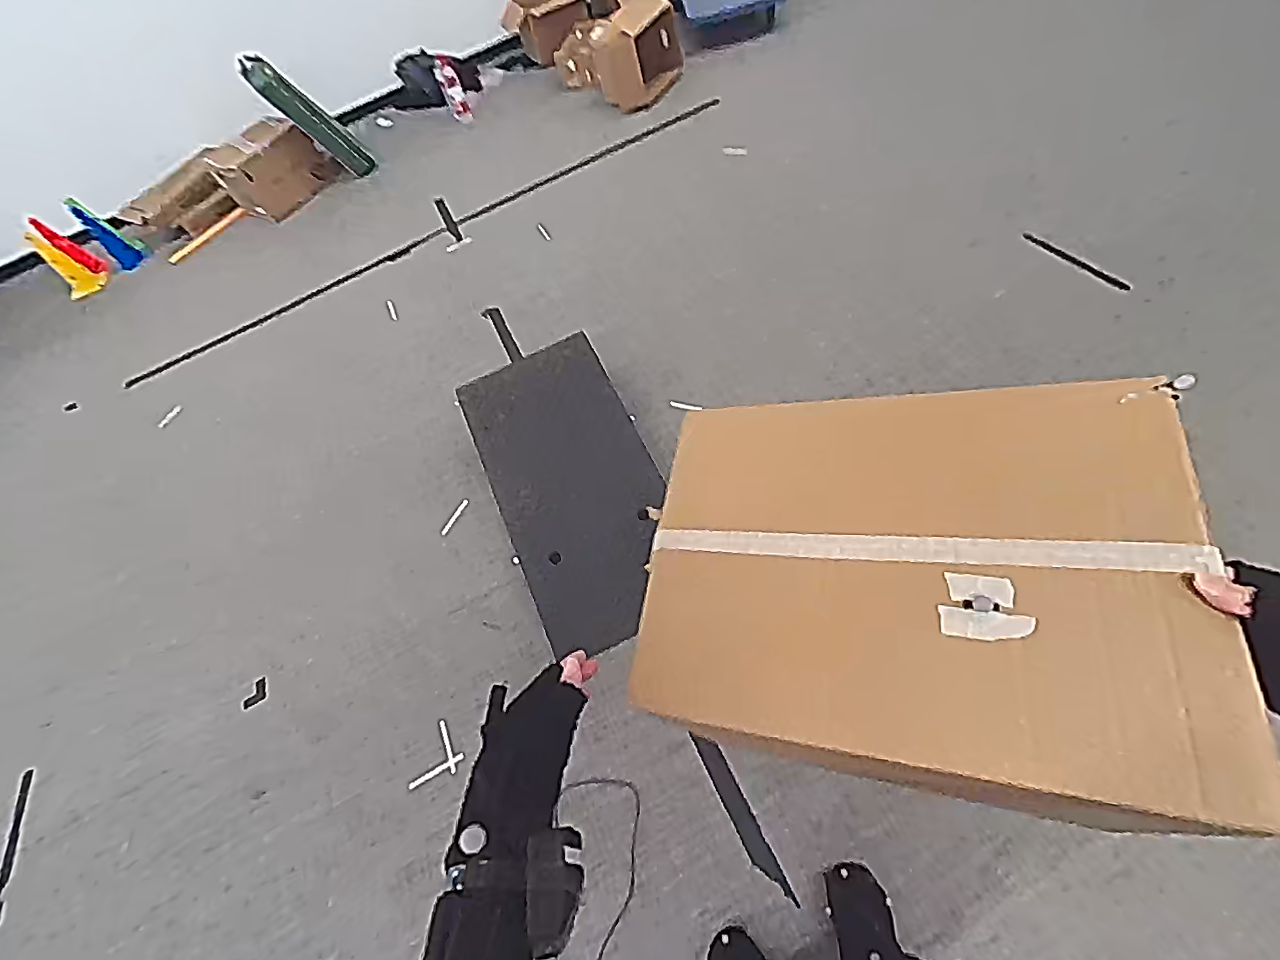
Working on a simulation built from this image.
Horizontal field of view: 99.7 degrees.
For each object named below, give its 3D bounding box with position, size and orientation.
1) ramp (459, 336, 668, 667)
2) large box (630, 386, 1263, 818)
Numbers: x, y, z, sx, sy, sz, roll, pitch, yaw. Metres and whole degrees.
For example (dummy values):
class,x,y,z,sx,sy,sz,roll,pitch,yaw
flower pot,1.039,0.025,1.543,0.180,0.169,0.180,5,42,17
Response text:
class,x,y,z,sx,sy,sz,roll,pitch,yaw
ramp,-0.197,0.005,1.680,0.509,0.206,0.991,-27,56,-5
large box,0.250,0.134,0.566,0.408,0.320,0.320,-1,61,25
